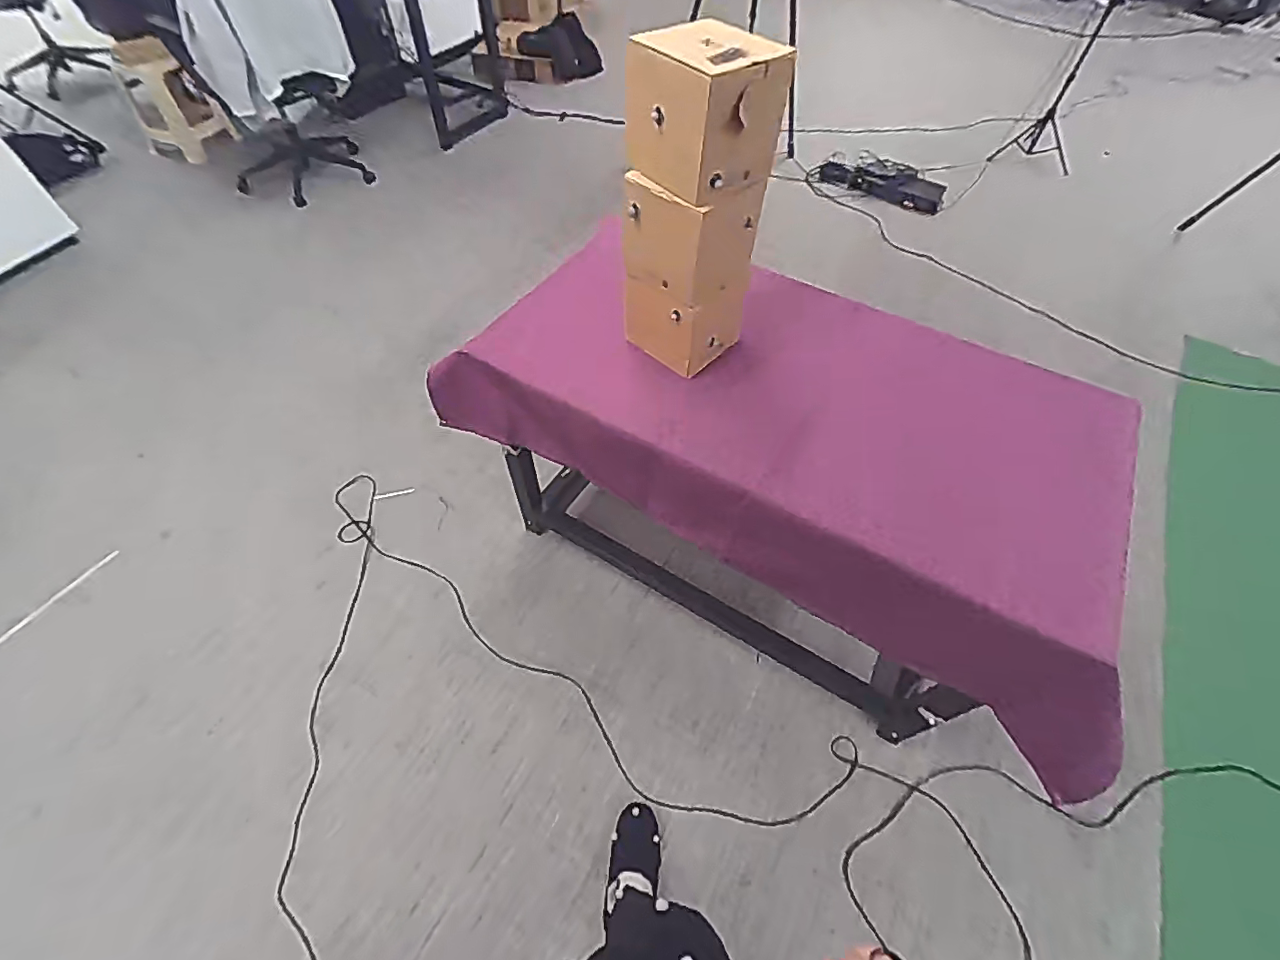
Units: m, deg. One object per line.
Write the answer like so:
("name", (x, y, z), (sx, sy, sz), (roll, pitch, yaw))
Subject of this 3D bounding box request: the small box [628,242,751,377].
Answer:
("small box", (0.090, -0.339, 1.083), (0.179, 0.176, 0.168), (38, 61, 22))

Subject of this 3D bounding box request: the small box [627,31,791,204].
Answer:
("small box", (0.096, -0.549, 0.829), (0.168, 0.176, 0.179), (-33, 61, -24))
